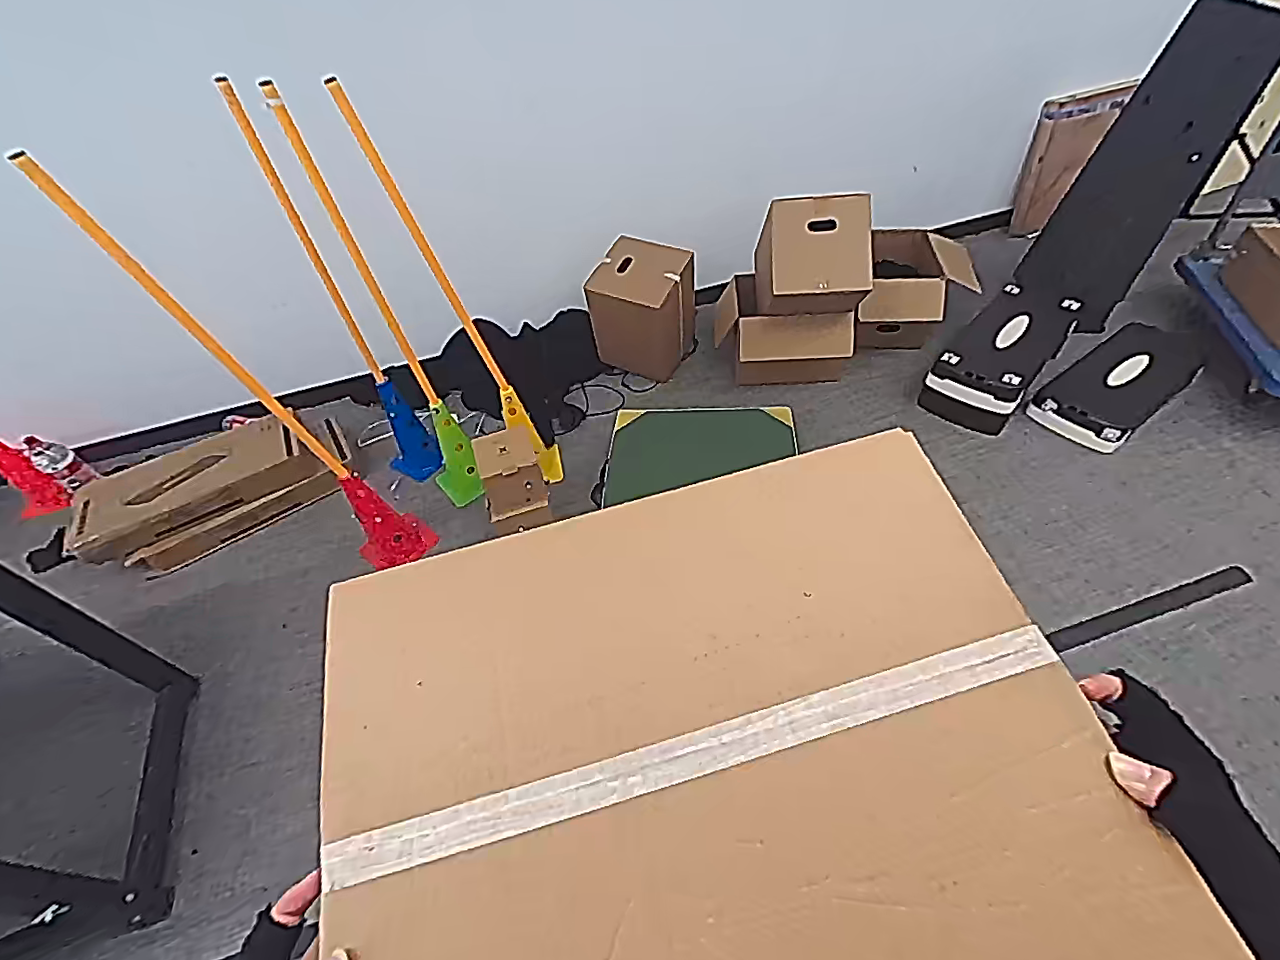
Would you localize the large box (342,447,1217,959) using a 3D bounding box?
[{"bbox_3d":[0.047,0.227,0.429,0.408,0.320,0.320,-16,60,-3],"label":"large box"}]
